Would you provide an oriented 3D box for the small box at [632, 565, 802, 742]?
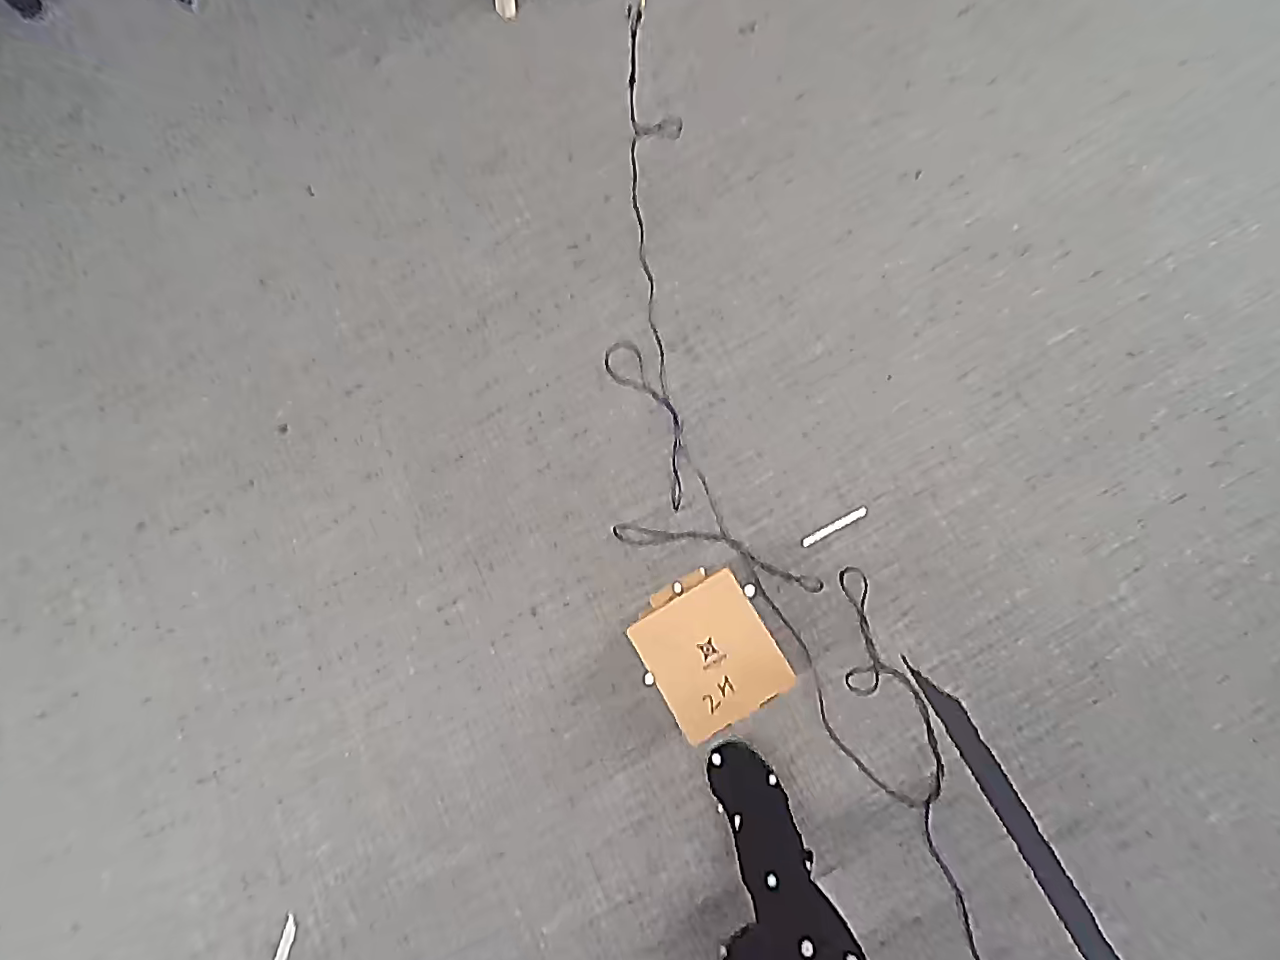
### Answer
[{"bbox_3d":[0.105,0.242,0.791,0.168,0.176,0.179,-31,79,0],"label":"small box"}]
